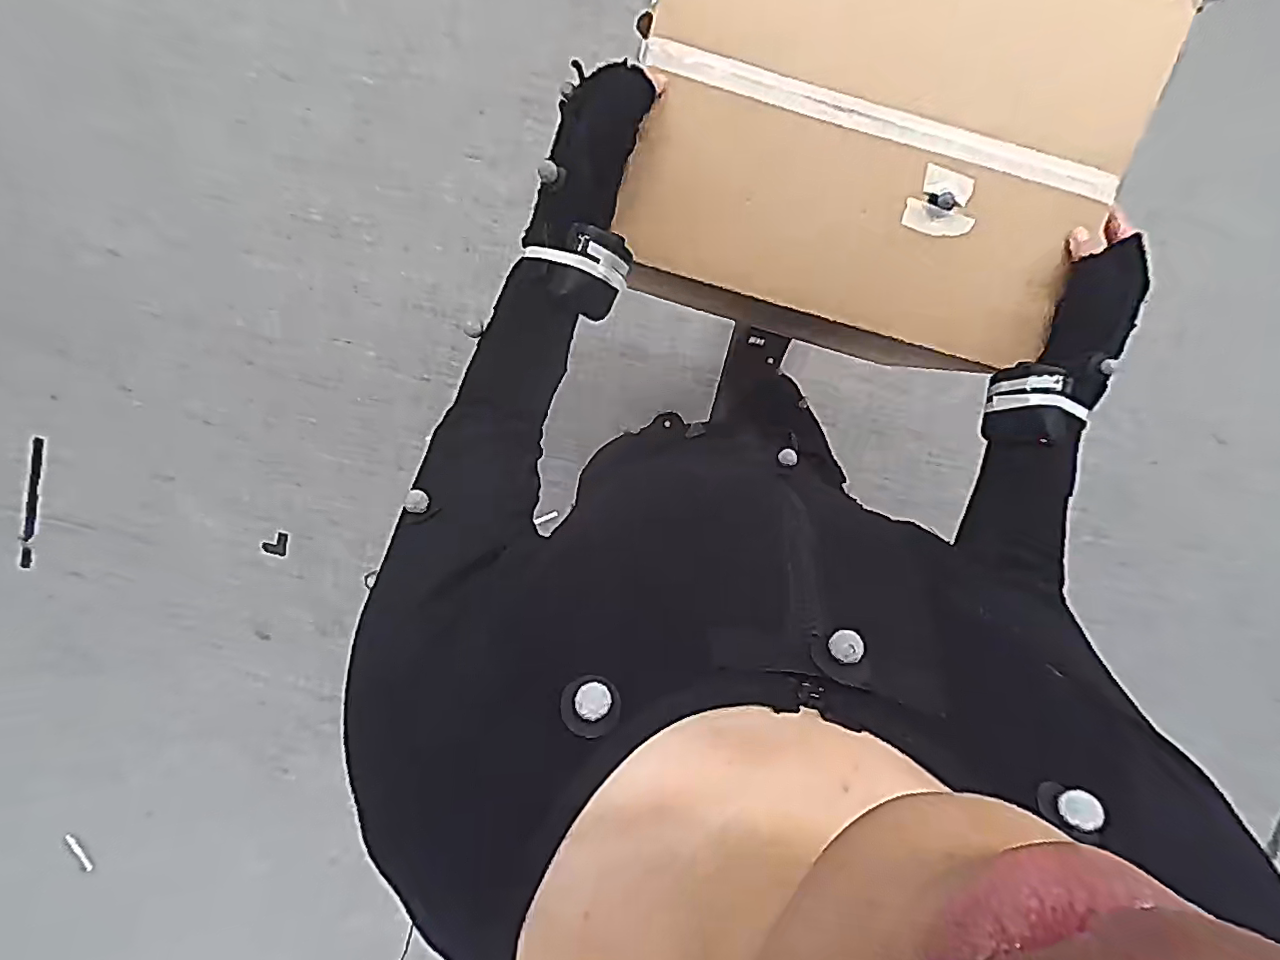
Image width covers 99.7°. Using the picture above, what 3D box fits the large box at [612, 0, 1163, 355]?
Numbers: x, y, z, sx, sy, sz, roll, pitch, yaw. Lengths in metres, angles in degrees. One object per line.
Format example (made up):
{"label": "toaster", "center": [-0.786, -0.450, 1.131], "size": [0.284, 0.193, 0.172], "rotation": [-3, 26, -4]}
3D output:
{"label": "large box", "center": [0.202, -0.342, 0.610], "size": [0.408, 0.320, 0.320], "rotation": [15, 104, -2]}
